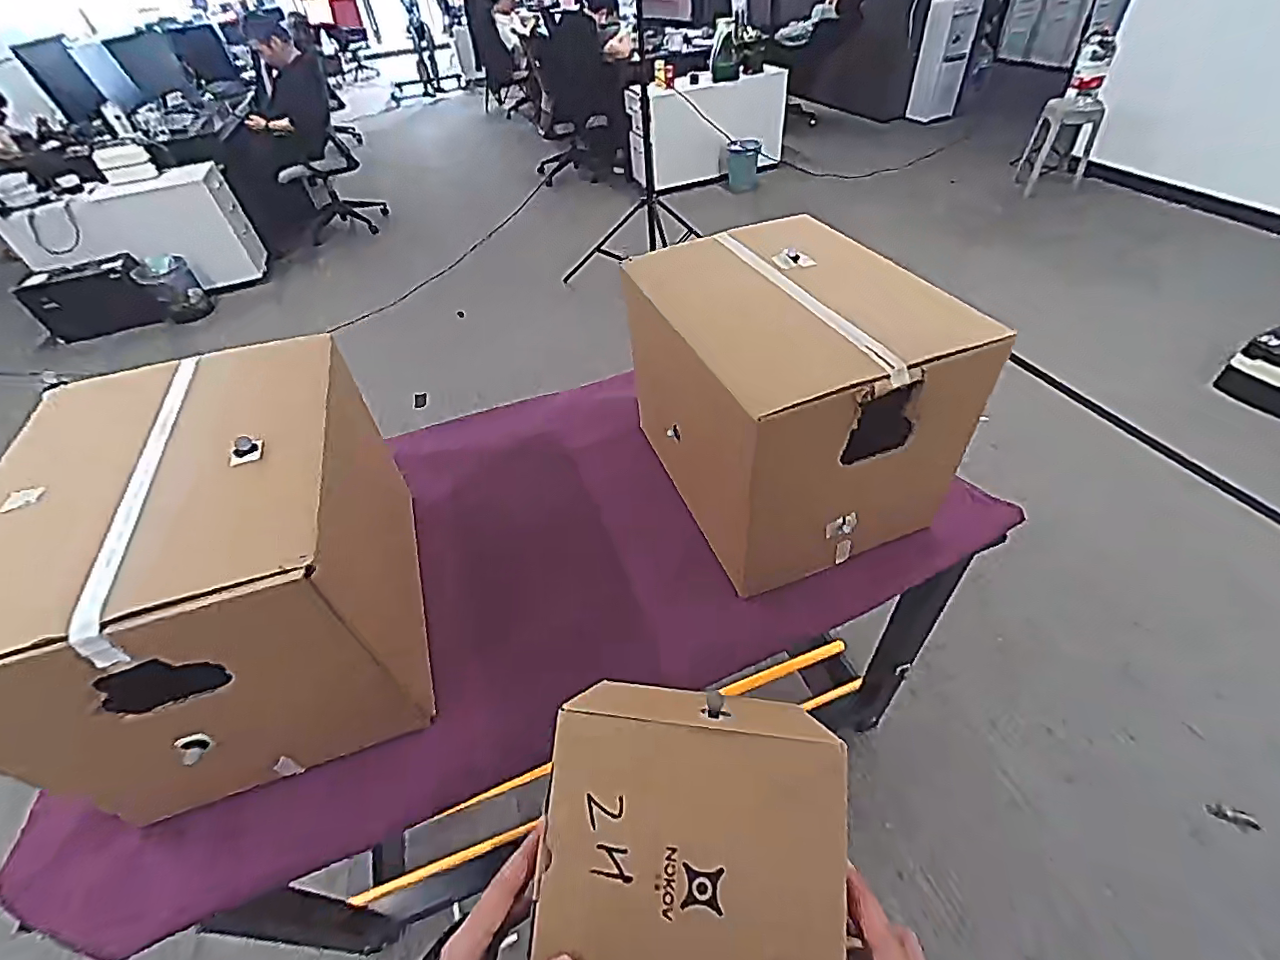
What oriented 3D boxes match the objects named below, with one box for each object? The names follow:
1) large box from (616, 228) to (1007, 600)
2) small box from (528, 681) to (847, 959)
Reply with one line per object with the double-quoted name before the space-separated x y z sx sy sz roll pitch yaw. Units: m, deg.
"large box" 0.193 -0.112 0.775 0.320 0.320 0.408 -18 45 -11
"small box" 0.036 0.243 0.386 0.179 0.176 0.168 4 75 8
